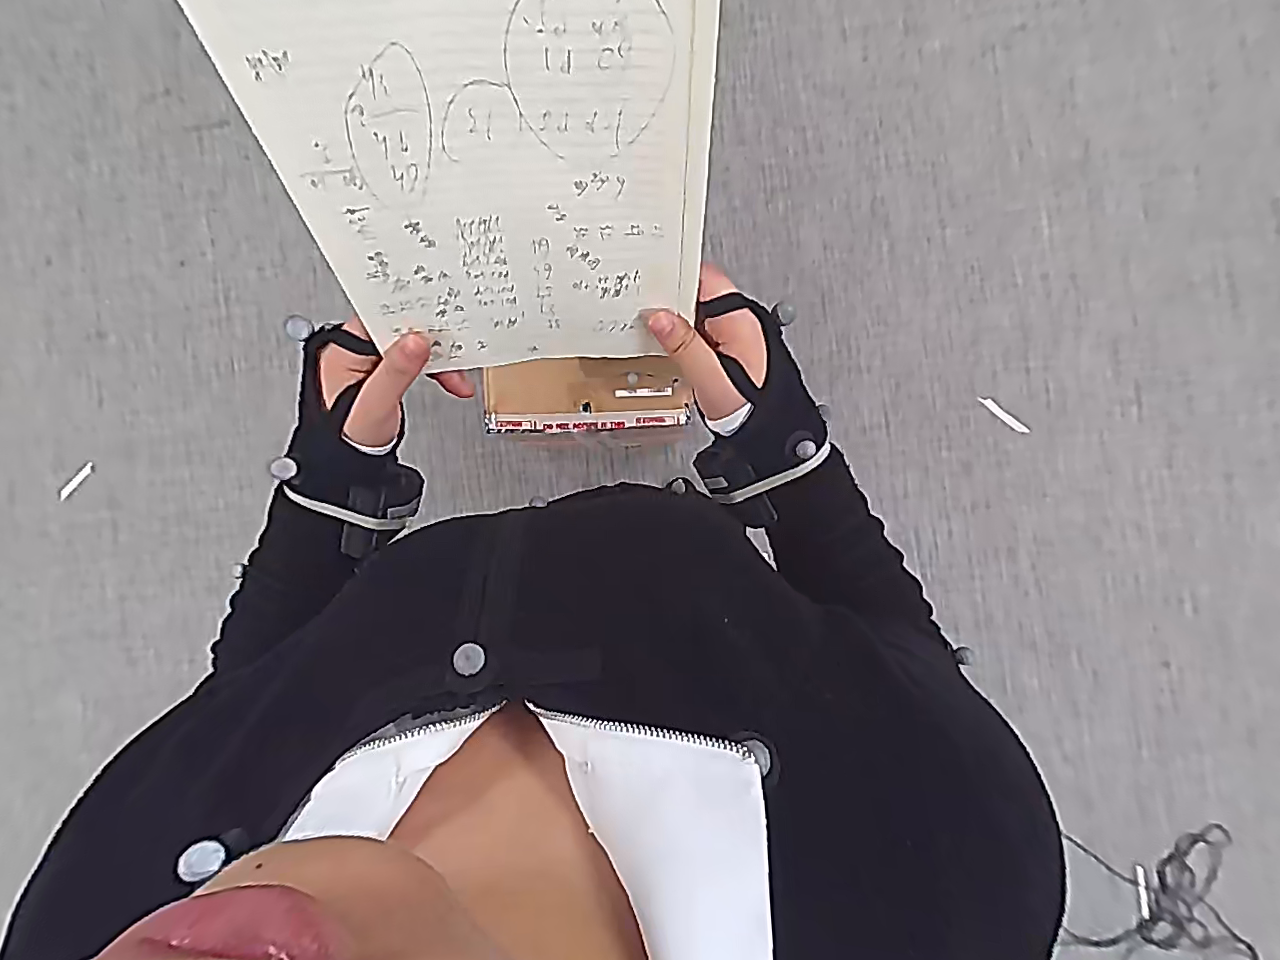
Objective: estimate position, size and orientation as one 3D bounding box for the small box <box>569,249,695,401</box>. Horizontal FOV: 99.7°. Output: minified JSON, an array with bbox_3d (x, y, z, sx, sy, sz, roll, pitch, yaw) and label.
[{"bbox_3d":[-0.014,-0.215,0.791,0.168,0.176,0.179,0,91,-2],"label":"small box"}]

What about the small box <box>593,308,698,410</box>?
[{"bbox_3d":[0.002,-0.219,0.956,0.179,0.176,0.168,-4,90,-1],"label":"small box"}]
